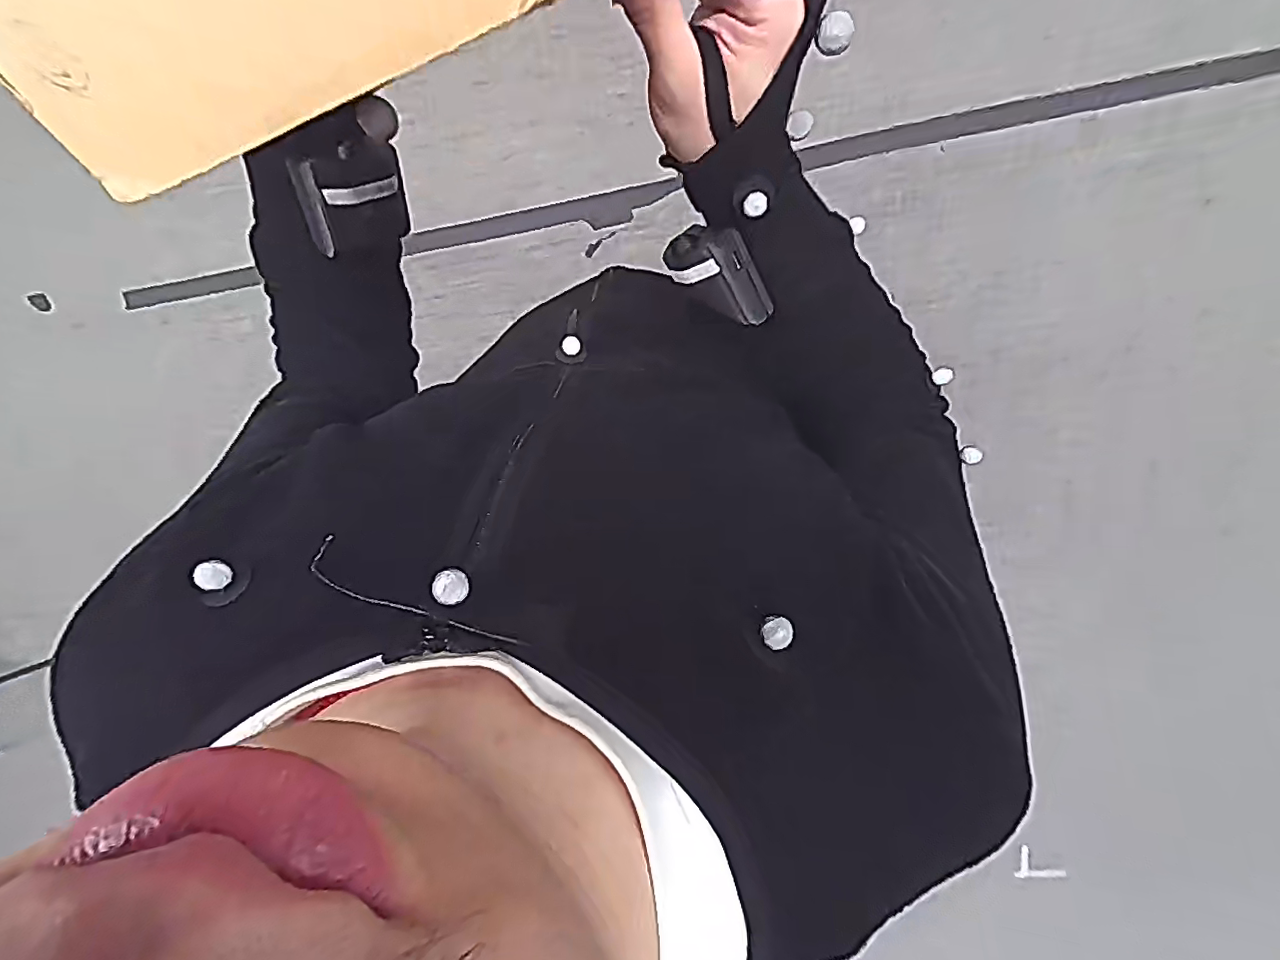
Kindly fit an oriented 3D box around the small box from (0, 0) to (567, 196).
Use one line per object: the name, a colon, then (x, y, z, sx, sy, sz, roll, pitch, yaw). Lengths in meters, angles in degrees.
small box: (-0.098, -0.215, 0.148, 0.179, 0.176, 0.168, -3, 139, 26)
